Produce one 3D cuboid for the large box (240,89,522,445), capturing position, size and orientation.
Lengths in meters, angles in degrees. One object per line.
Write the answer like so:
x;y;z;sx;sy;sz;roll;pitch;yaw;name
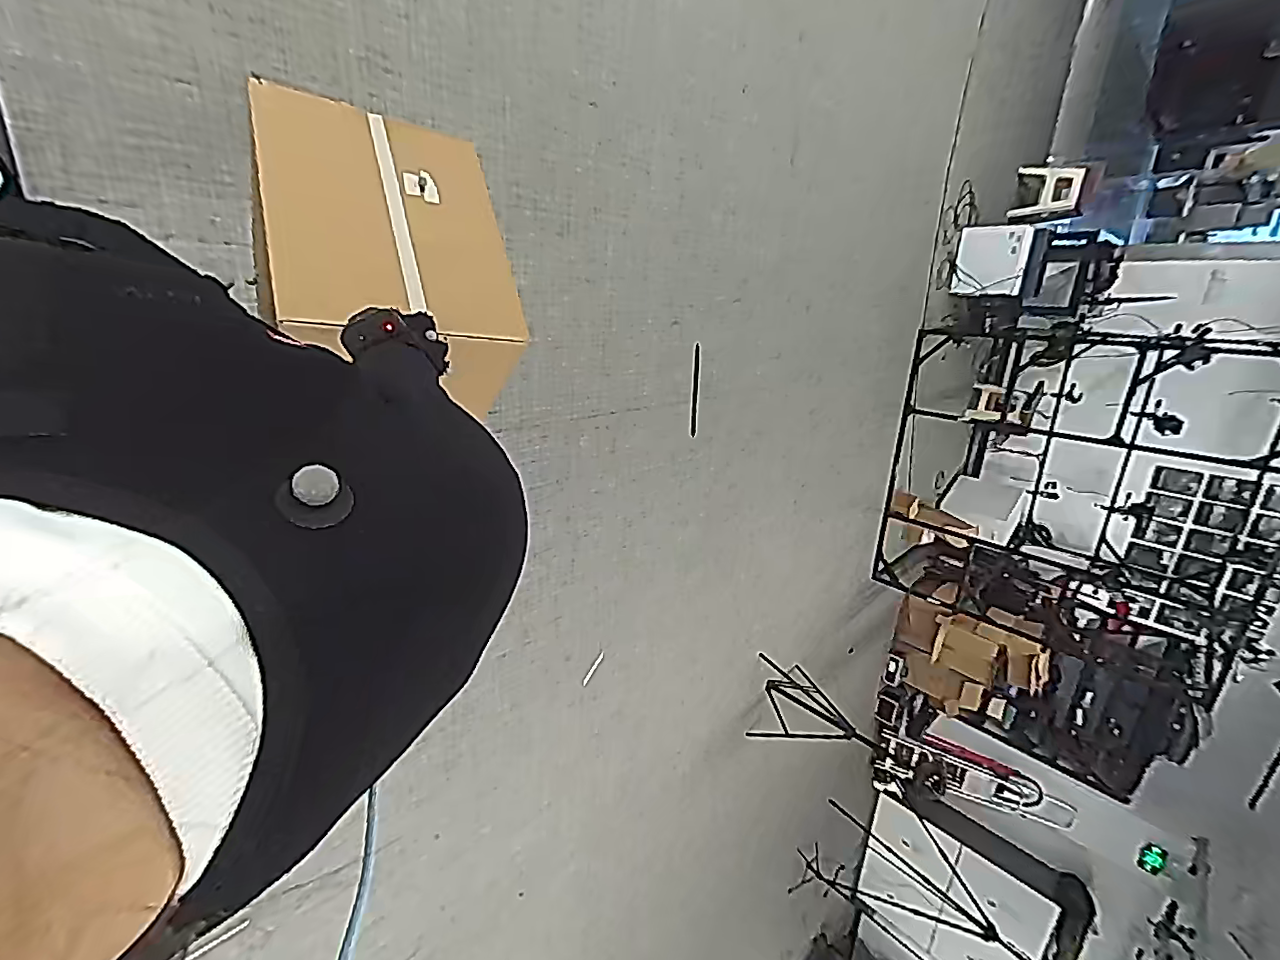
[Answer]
-0.437;-0.307;0.881;0.320;0.320;0.408;-6;67;-39;large box
